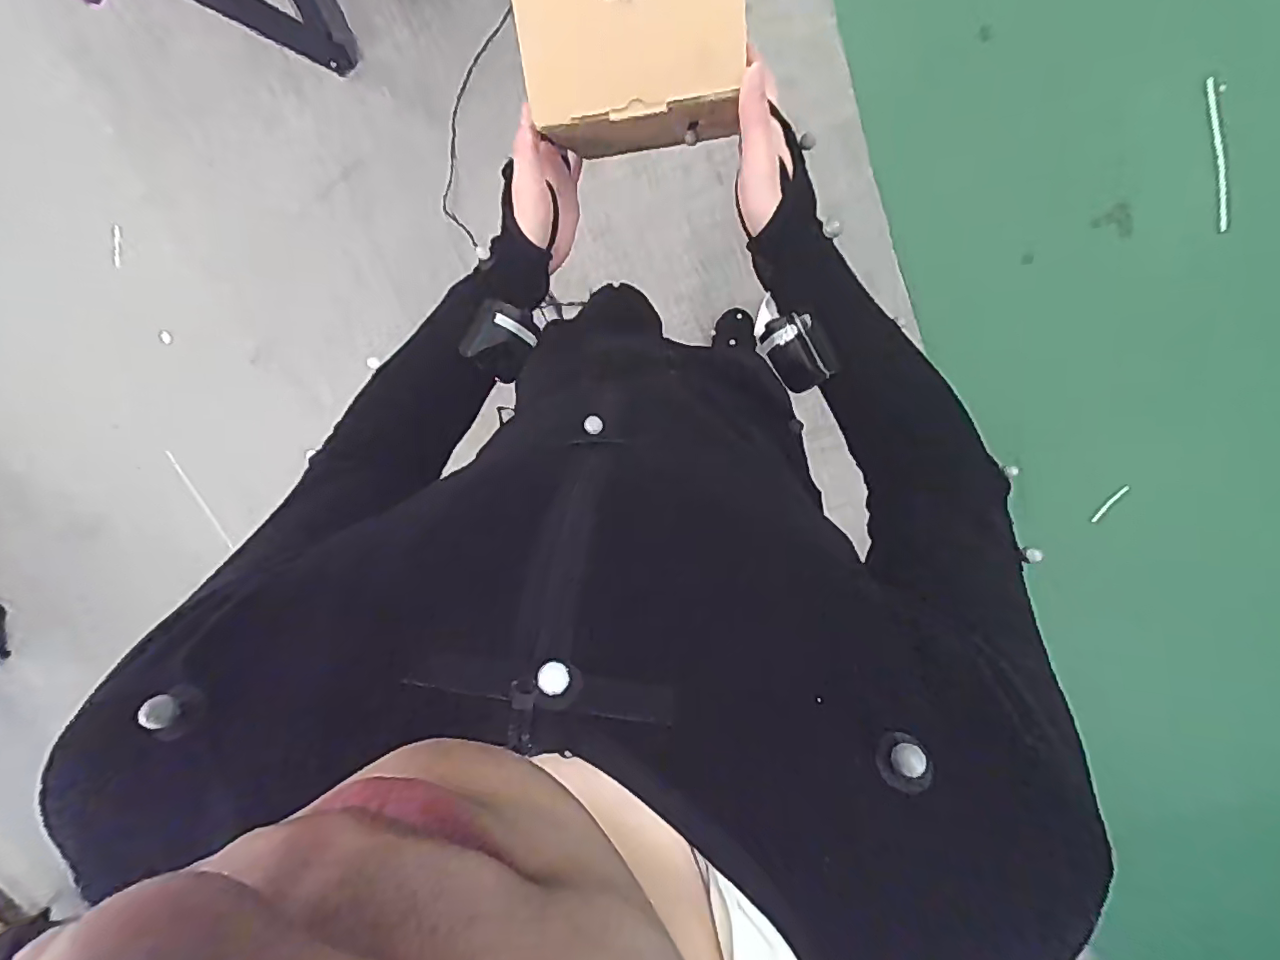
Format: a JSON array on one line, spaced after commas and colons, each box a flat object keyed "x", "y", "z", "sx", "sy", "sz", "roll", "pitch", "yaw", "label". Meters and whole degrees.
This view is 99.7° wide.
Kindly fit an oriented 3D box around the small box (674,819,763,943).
[{"x": 0.192, "y": 0.940, "z": 1.276, "sx": 0.168, "sy": 0.176, "sz": 0.179, "roll": -15, "pitch": 104, "yaw": 16, "label": "small box"}]

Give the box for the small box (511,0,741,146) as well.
[{"x": -0.002, "y": -0.390, "z": 0.444, "sx": 0.168, "sy": 0.176, "sz": 0.179, "roll": -3, "pitch": 112, "yaw": 9, "label": "small box"}]
